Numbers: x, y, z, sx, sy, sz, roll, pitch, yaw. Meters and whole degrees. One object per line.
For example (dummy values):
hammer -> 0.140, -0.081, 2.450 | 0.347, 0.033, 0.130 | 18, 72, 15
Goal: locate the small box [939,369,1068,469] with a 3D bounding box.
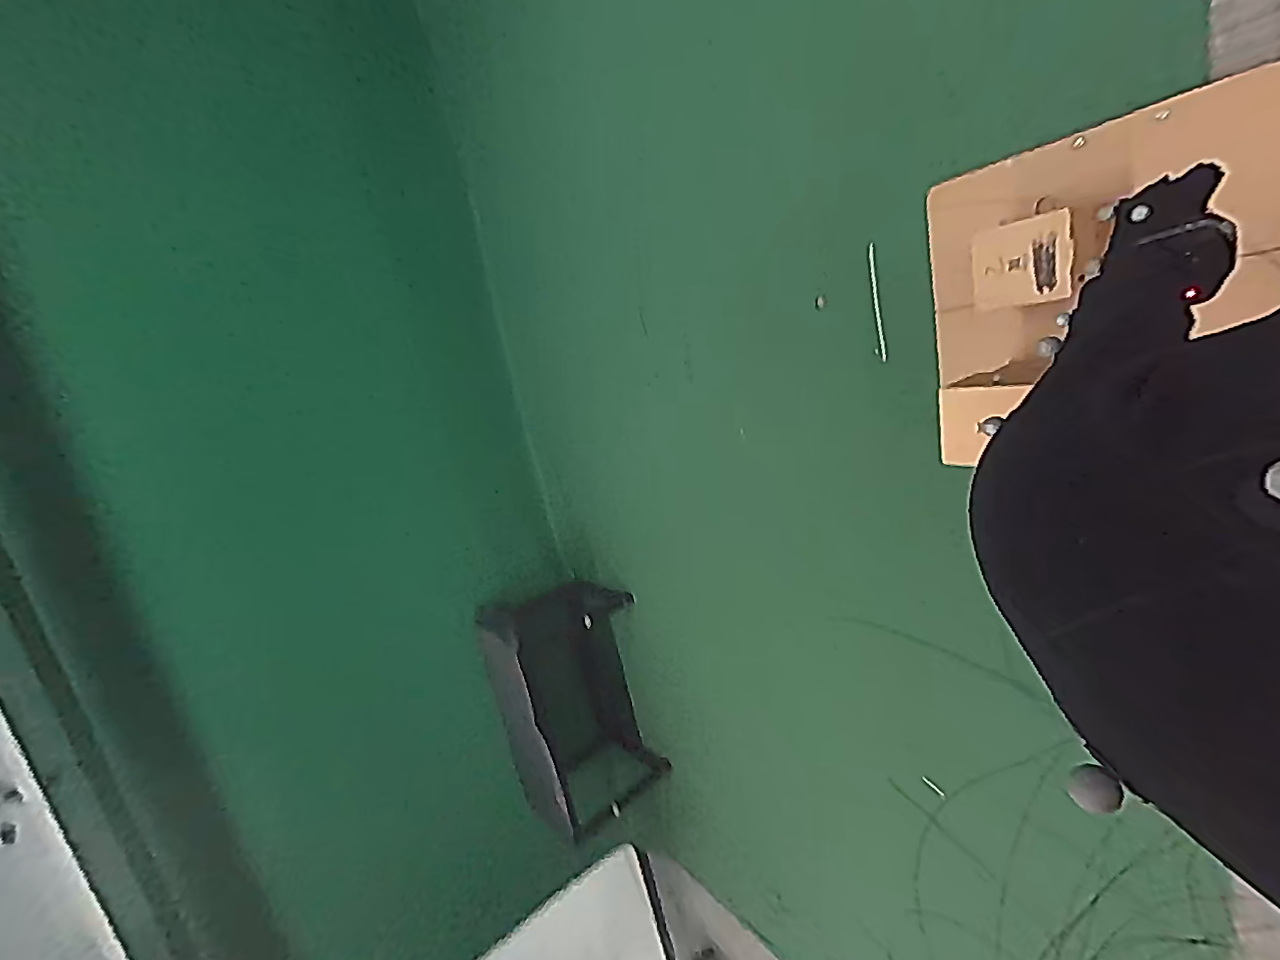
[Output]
small box -> 0.746, -0.130, 1.115 | 0.179, 0.176, 0.168 | 9, 114, 53

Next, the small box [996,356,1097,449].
small box -> 0.881, -0.172, 1.196 | 0.179, 0.176, 0.168 | 8, 114, 54
